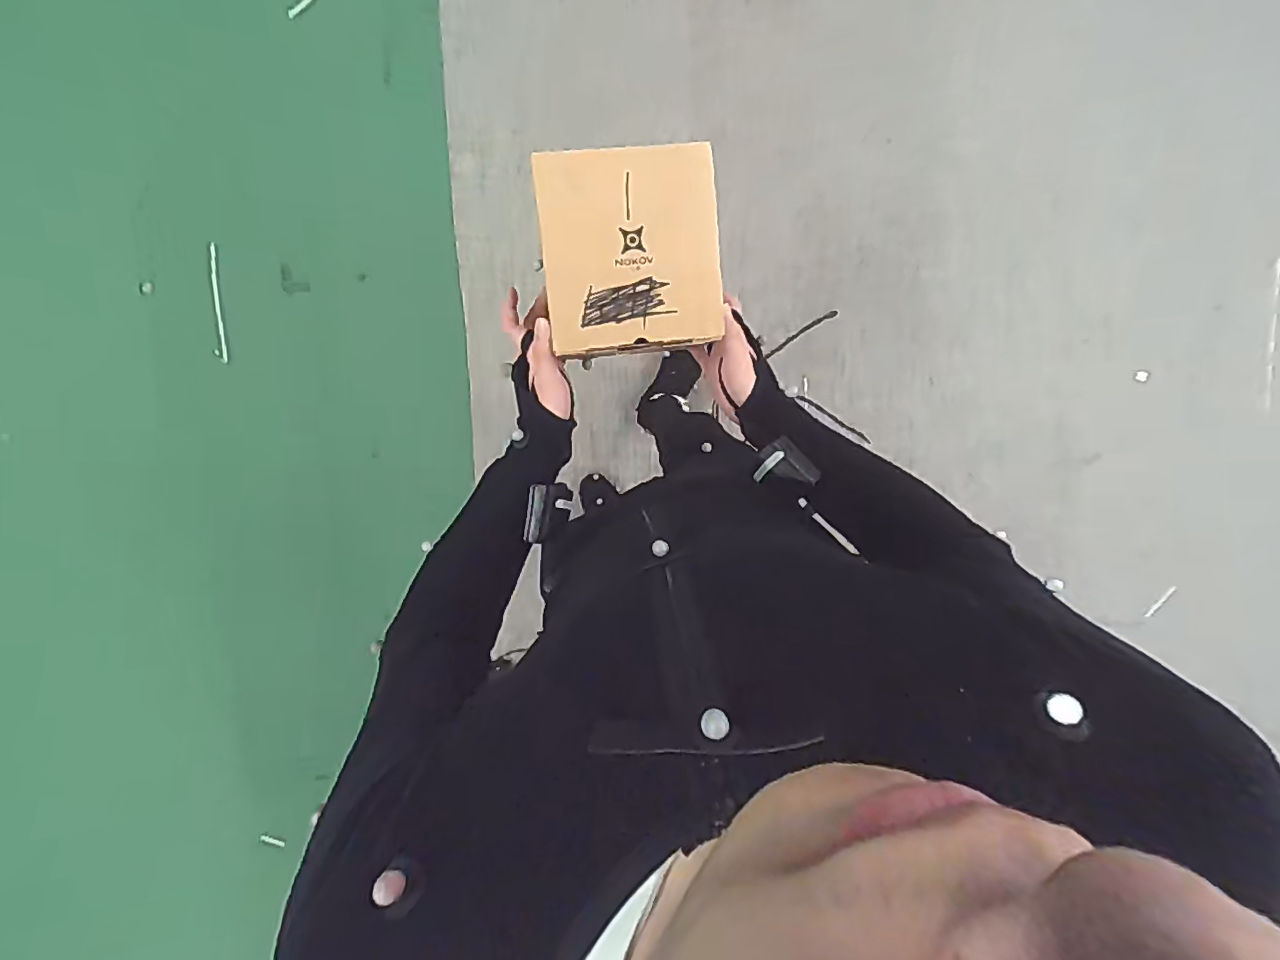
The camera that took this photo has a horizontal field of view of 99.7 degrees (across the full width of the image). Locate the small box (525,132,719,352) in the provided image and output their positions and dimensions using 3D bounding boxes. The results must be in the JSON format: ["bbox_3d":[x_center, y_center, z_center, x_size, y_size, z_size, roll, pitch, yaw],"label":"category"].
[{"bbox_3d":[-0.020,-0.228,0.562,0.168,0.176,0.179,-6,100,-6],"label":"small box"}]
